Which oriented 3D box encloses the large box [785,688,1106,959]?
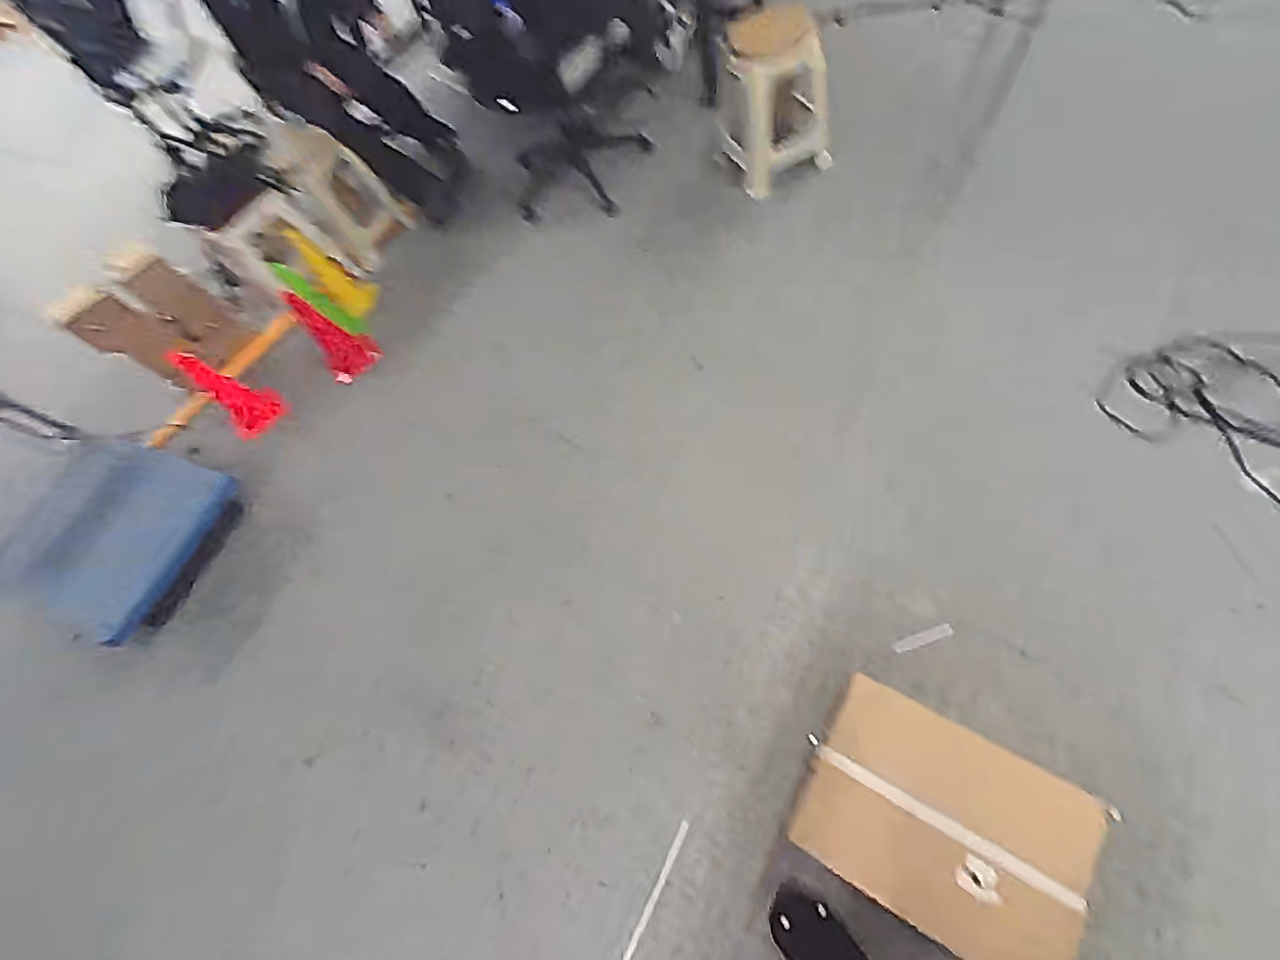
[{"bbox_3d":[0.525,0.651,1.013,0.408,0.320,0.320,25,70,23],"label":"large box"}]
